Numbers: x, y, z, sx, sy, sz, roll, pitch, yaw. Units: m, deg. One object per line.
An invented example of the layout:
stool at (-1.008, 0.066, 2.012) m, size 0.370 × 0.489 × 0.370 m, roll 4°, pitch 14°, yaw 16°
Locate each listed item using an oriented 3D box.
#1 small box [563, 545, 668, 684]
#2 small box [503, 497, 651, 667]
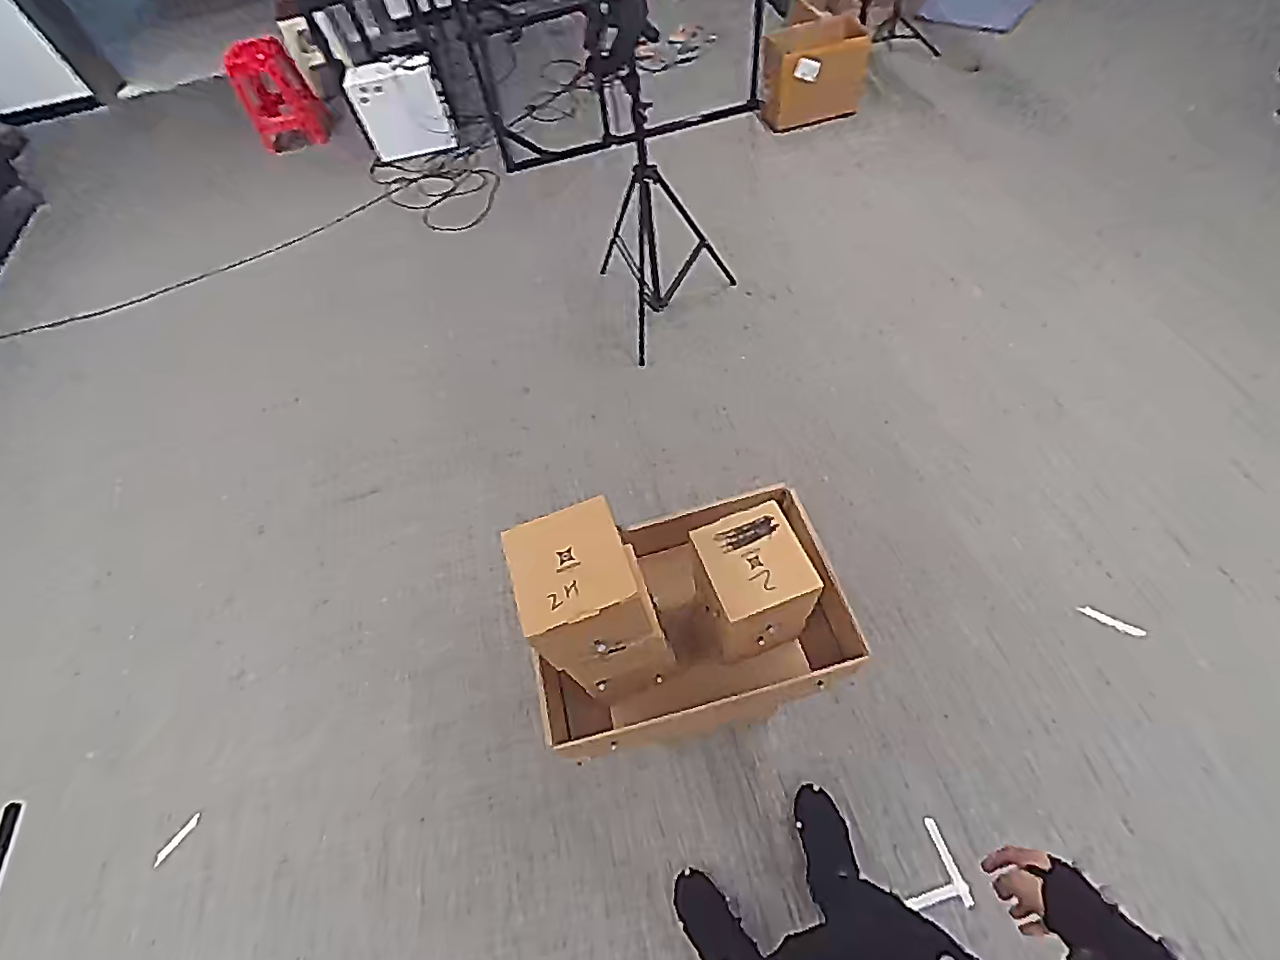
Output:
small box at (-0.056, 0.249, 0.965) m, size 0.168 × 0.176 × 0.179 m, roll -19°, pitch 56°, yaw -3°
small box at (-0.092, 0.160, 0.830) m, size 0.168 × 0.176 × 0.179 m, roll -20°, pitch 57°, yaw -4°
